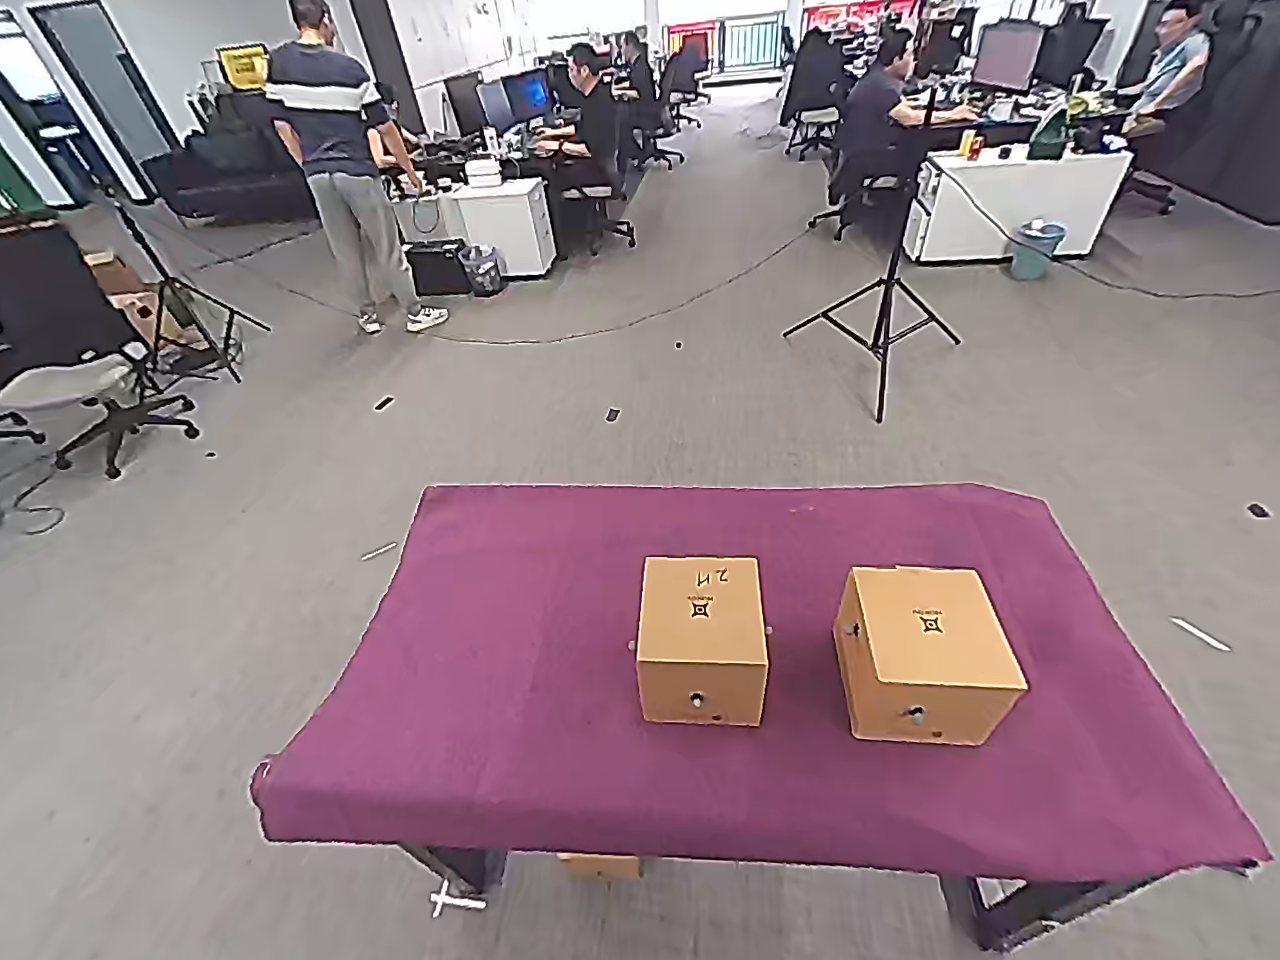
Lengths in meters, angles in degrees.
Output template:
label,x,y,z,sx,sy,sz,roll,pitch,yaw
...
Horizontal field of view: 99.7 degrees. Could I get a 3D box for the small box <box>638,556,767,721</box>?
label,x,y,z,sx,sy,sz,roll,pitch,yaw
small box,0.092,0.232,0.793,0.168,0.176,0.179,0,40,6

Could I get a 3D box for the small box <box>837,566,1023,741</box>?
label,x,y,z,sx,sy,sz,roll,pitch,yaw
small box,0.380,0.240,0.748,0.168,0.176,0.179,0,42,8
